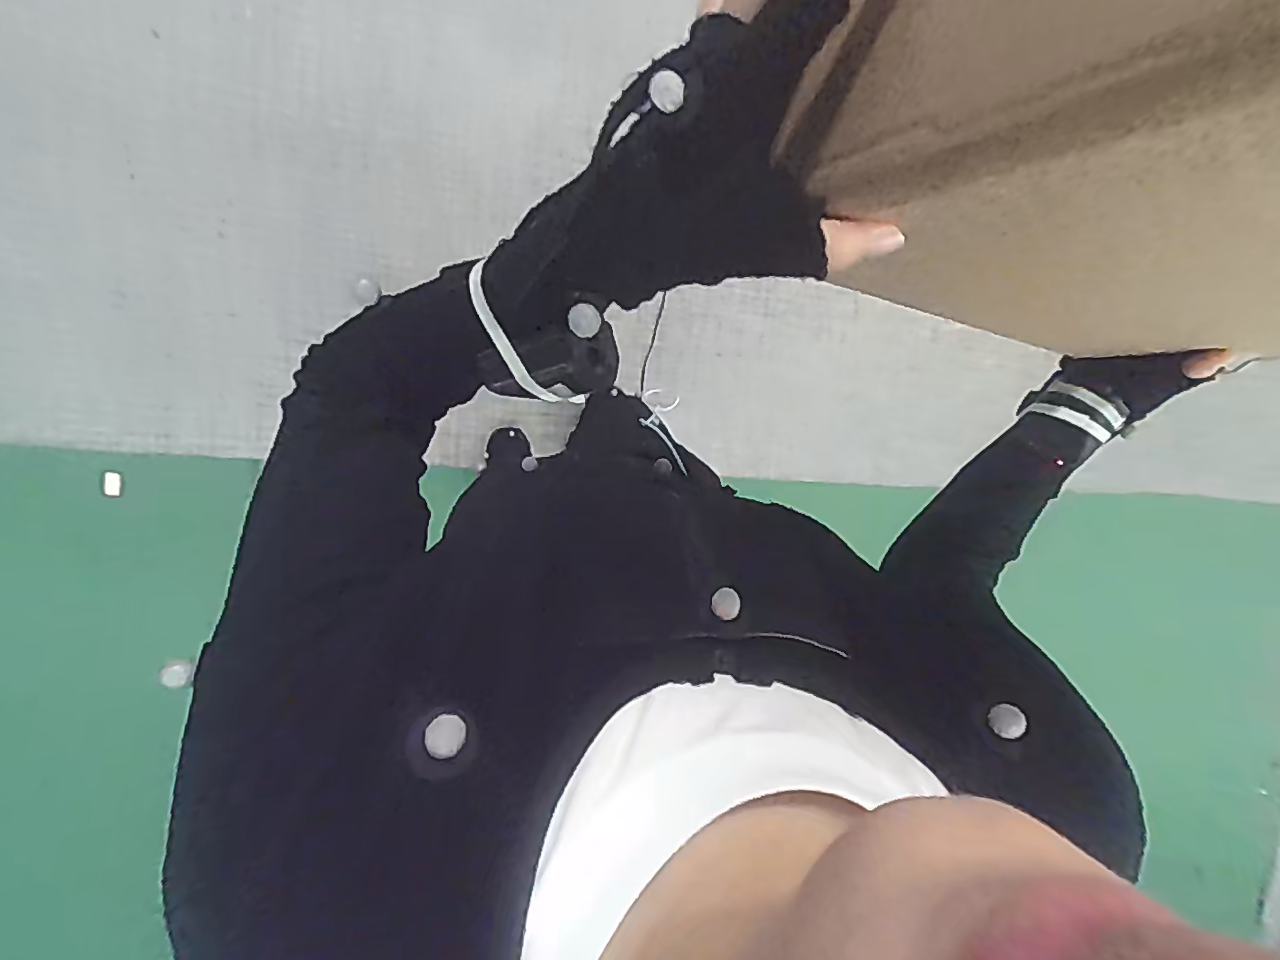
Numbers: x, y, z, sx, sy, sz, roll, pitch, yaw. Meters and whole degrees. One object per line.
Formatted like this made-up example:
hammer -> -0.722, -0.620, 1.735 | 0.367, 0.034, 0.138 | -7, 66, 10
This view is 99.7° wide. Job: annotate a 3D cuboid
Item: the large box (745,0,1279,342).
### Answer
large box -> 0.301, -0.246, 0.225 | 0.408, 0.320, 0.320 | 1, 99, -32
